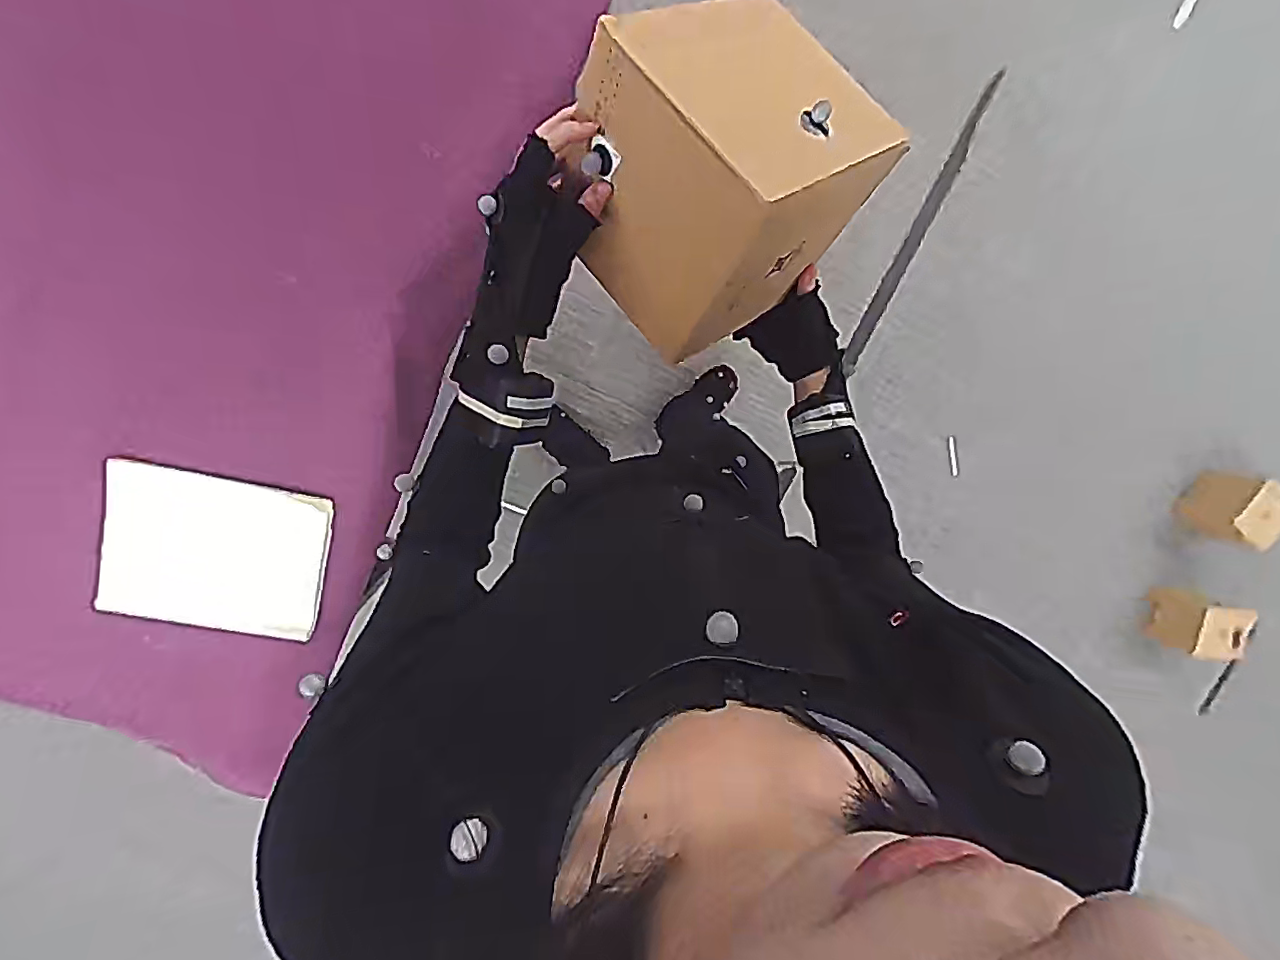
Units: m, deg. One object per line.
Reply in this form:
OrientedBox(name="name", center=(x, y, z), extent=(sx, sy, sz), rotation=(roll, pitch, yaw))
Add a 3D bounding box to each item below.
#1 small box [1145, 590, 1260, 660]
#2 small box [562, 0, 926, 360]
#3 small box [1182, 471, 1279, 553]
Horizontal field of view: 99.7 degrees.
OrientedBox(name="small box", center=(1.810, 0.465, 1.747), extent=(0.179, 0.176, 0.168), rotation=(5, 99, -7))
OrientedBox(name="small box", center=(0.067, -0.233, 0.420), extent=(0.179, 0.168, 0.176), rotation=(-34, 79, -28))
OrientedBox(name="small box", center=(1.867, 0.093, 1.690), extent=(0.168, 0.176, 0.179), rotation=(37, 94, -12))
